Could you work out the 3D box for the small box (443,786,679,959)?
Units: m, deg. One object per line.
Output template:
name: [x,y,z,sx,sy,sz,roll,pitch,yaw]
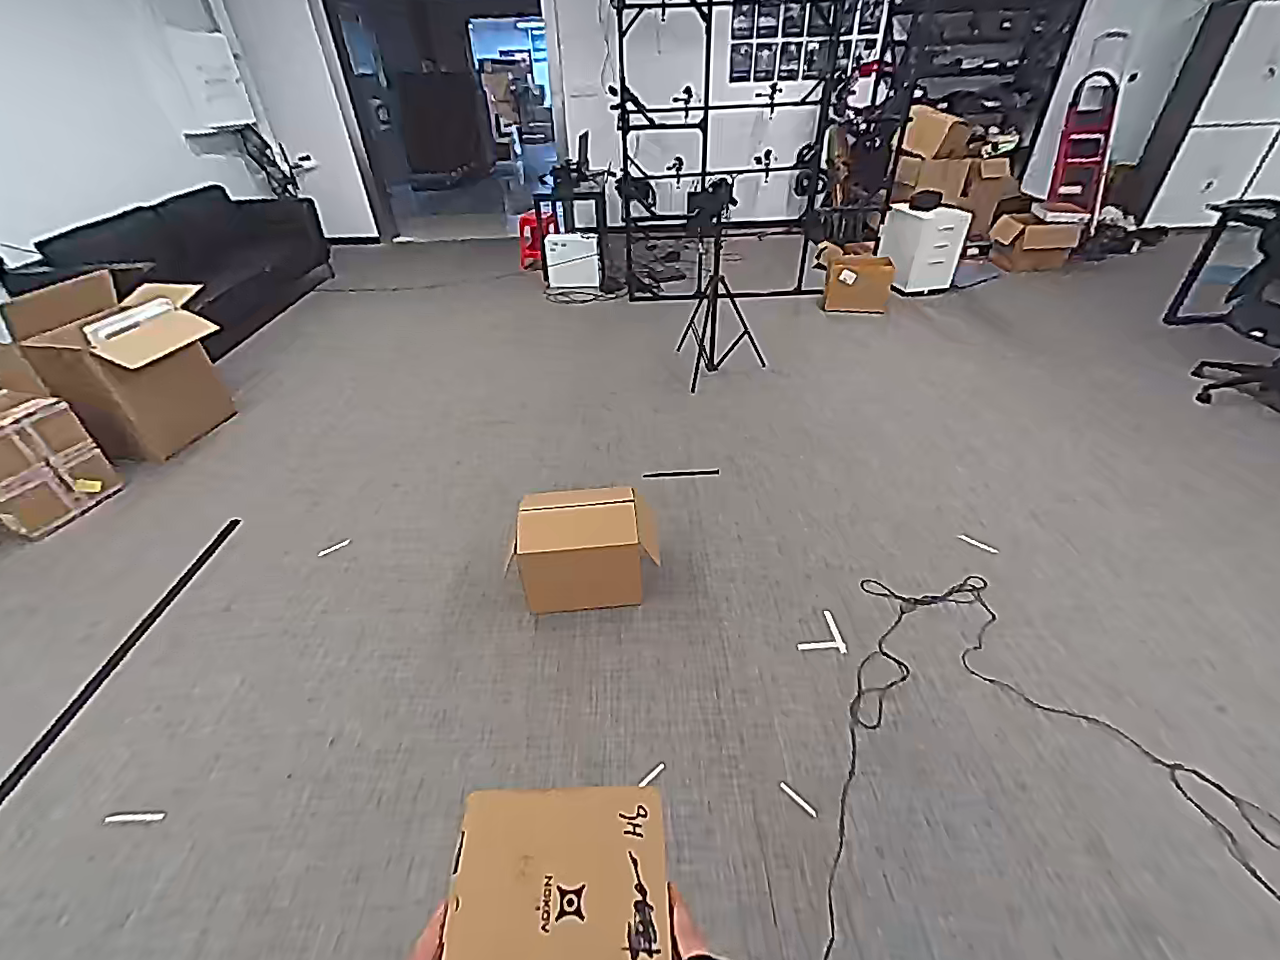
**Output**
small box: [-0.060,0.389,0.475,0.179,0.176,0.168,0,42,-3]
